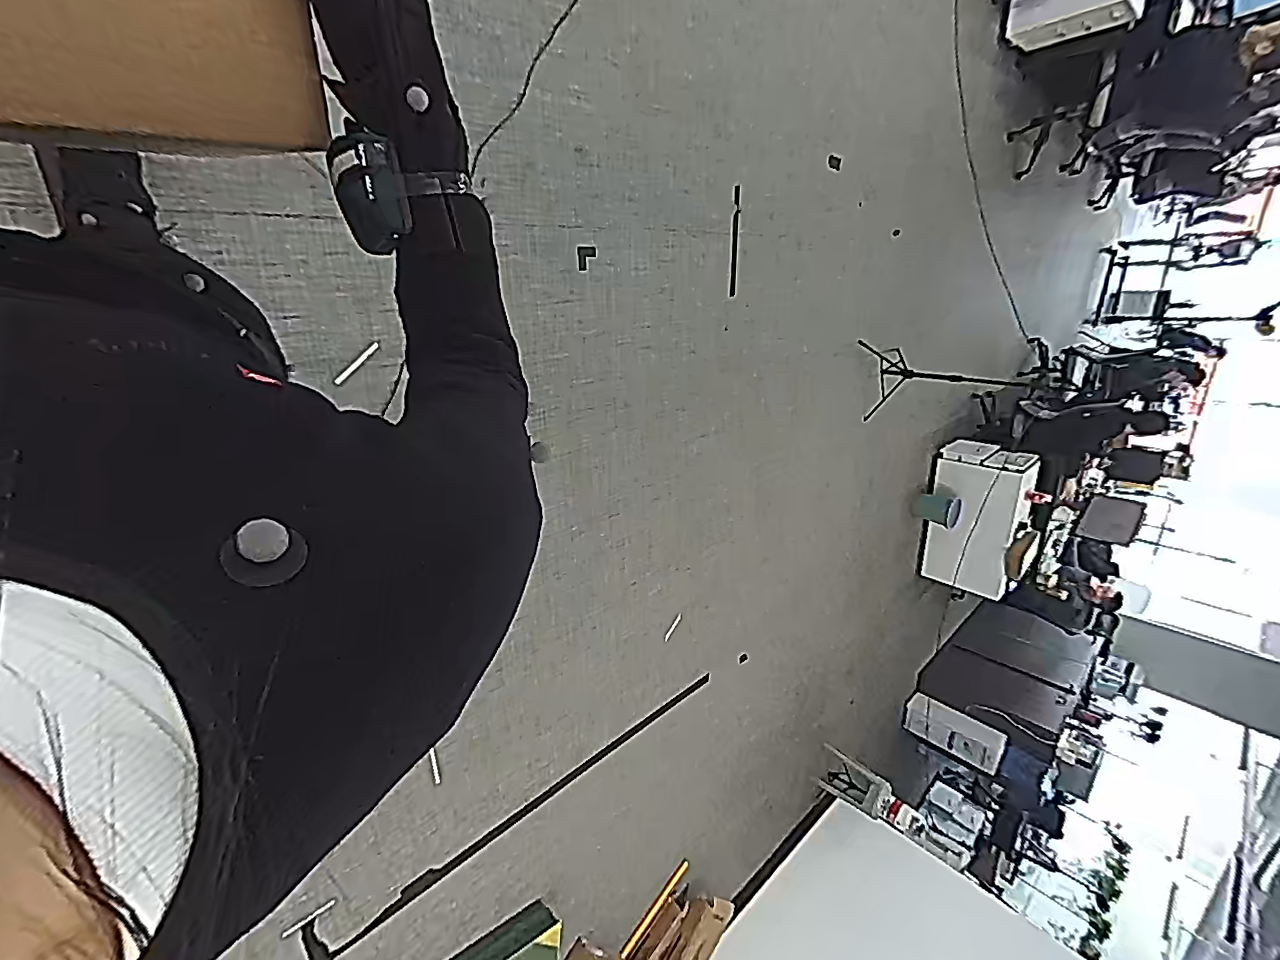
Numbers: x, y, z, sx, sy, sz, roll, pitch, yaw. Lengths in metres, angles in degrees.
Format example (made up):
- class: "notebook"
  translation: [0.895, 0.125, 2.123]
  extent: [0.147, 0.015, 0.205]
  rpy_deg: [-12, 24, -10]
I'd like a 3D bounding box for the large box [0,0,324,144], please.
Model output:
- class: "large box"
  translation: [-0.453, -0.362, 0.265]
  extent: [0.408, 0.320, 0.320]
  rpy_deg: [-22, 128, -39]
